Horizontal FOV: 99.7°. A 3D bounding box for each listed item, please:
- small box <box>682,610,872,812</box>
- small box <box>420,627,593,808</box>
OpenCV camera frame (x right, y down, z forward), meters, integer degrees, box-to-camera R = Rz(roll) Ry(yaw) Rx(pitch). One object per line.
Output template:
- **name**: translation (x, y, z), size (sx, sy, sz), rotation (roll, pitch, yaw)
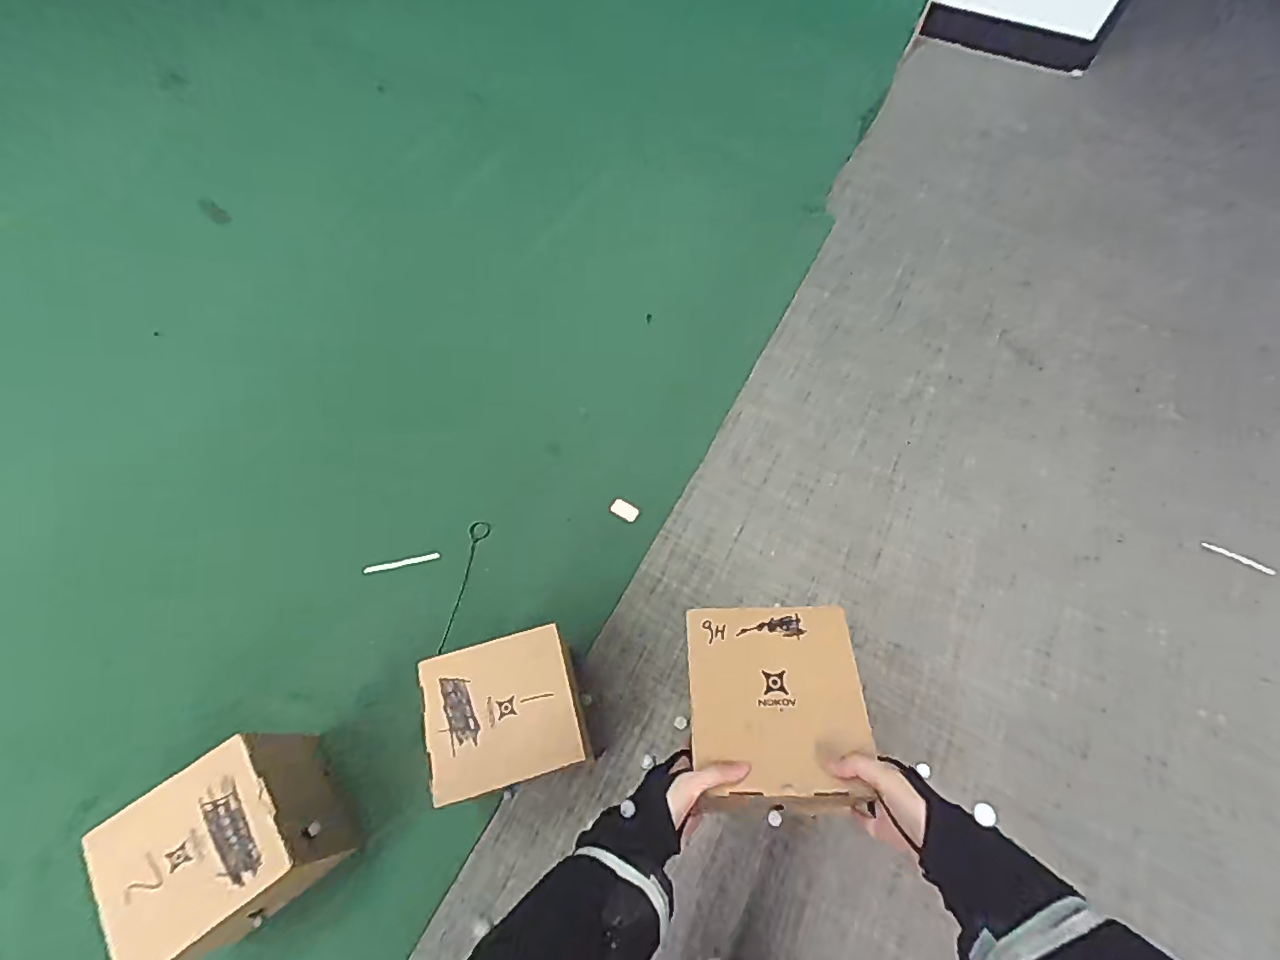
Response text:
- **small box**: translation (0.133, 0.256, 0.591), size (0.168, 0.176, 0.179), rotation (-2, 54, 5)
- **small box**: translation (-0.168, 0.314, 0.714), size (0.179, 0.176, 0.168), rotation (-14, 64, -9)
